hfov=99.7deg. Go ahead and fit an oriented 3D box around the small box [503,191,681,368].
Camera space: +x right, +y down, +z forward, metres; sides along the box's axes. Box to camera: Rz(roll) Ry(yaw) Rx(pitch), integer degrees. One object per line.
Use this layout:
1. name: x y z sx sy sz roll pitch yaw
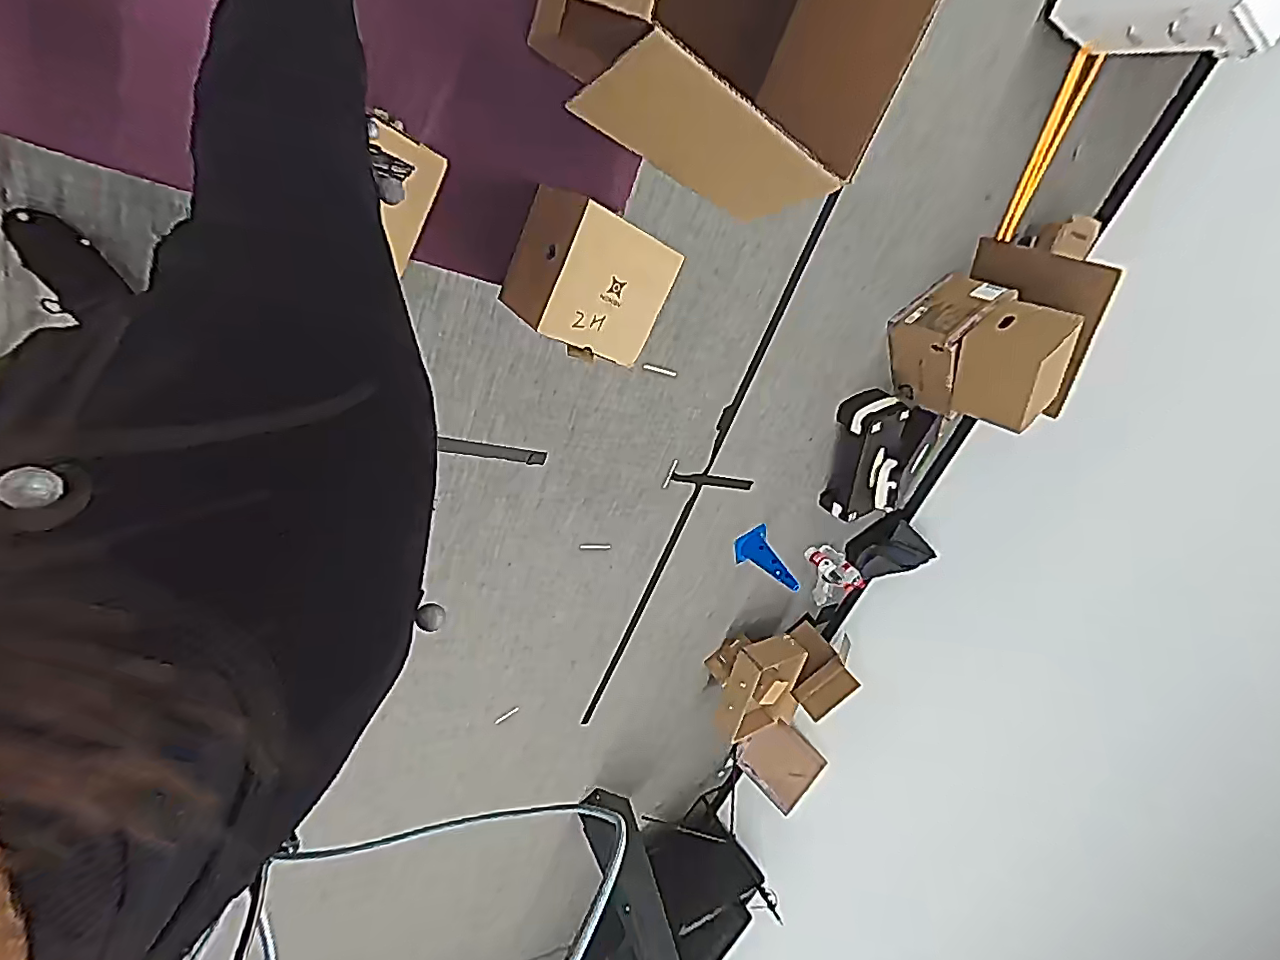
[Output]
1. small box: -0.078 -0.292 0.783 0.168 0.176 0.179 12 112 -39
